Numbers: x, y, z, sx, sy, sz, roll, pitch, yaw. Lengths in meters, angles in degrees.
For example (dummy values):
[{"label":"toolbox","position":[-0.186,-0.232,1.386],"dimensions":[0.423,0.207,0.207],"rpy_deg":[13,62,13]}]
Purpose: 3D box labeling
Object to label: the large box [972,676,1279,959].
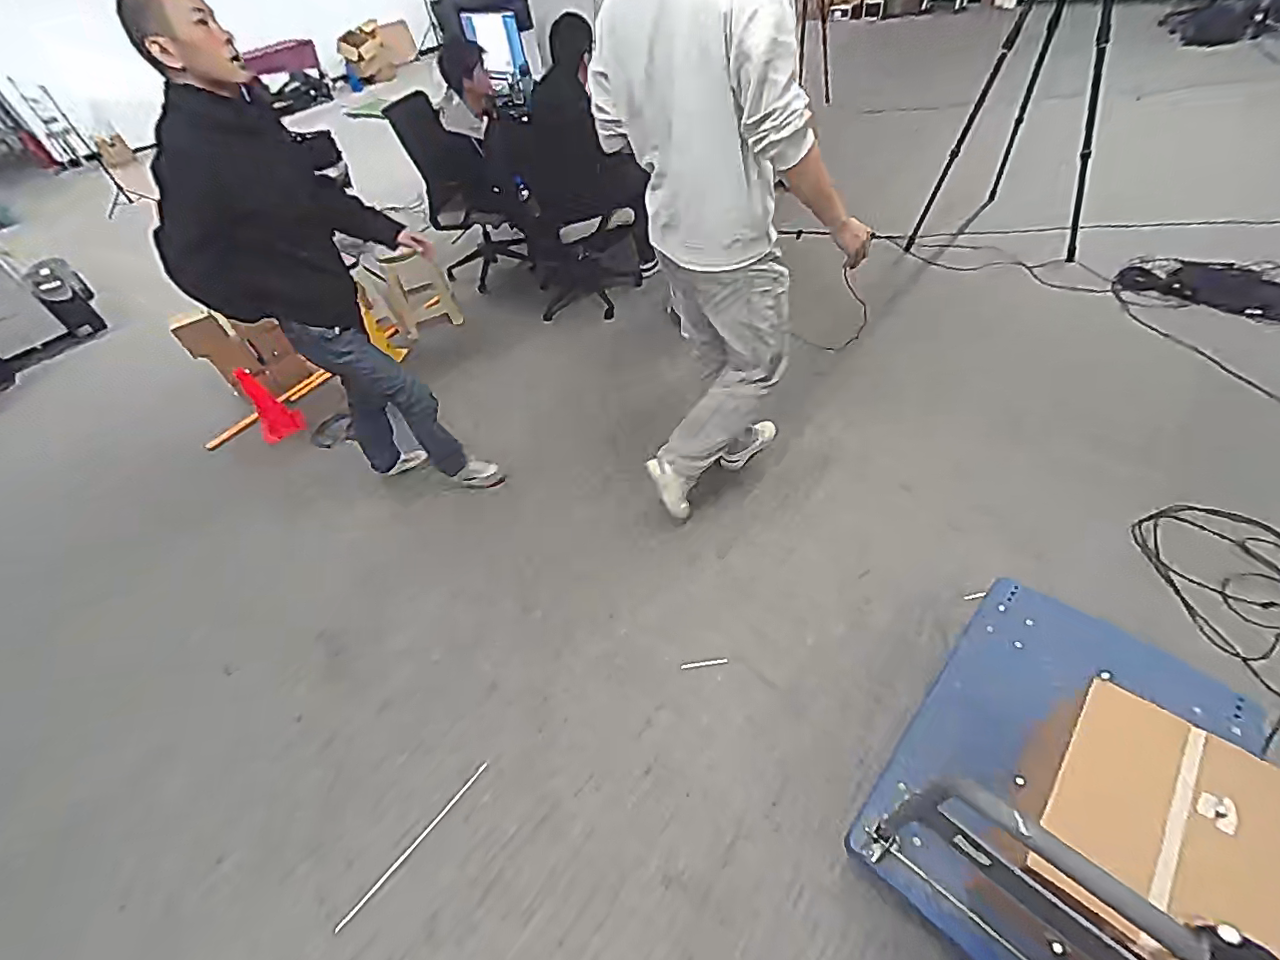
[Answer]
[{"label":"large box","position":[0.886,0.667,1.000],"dimensions":[0.320,0.320,0.408],"rpy_deg":[30,58,30]}]
